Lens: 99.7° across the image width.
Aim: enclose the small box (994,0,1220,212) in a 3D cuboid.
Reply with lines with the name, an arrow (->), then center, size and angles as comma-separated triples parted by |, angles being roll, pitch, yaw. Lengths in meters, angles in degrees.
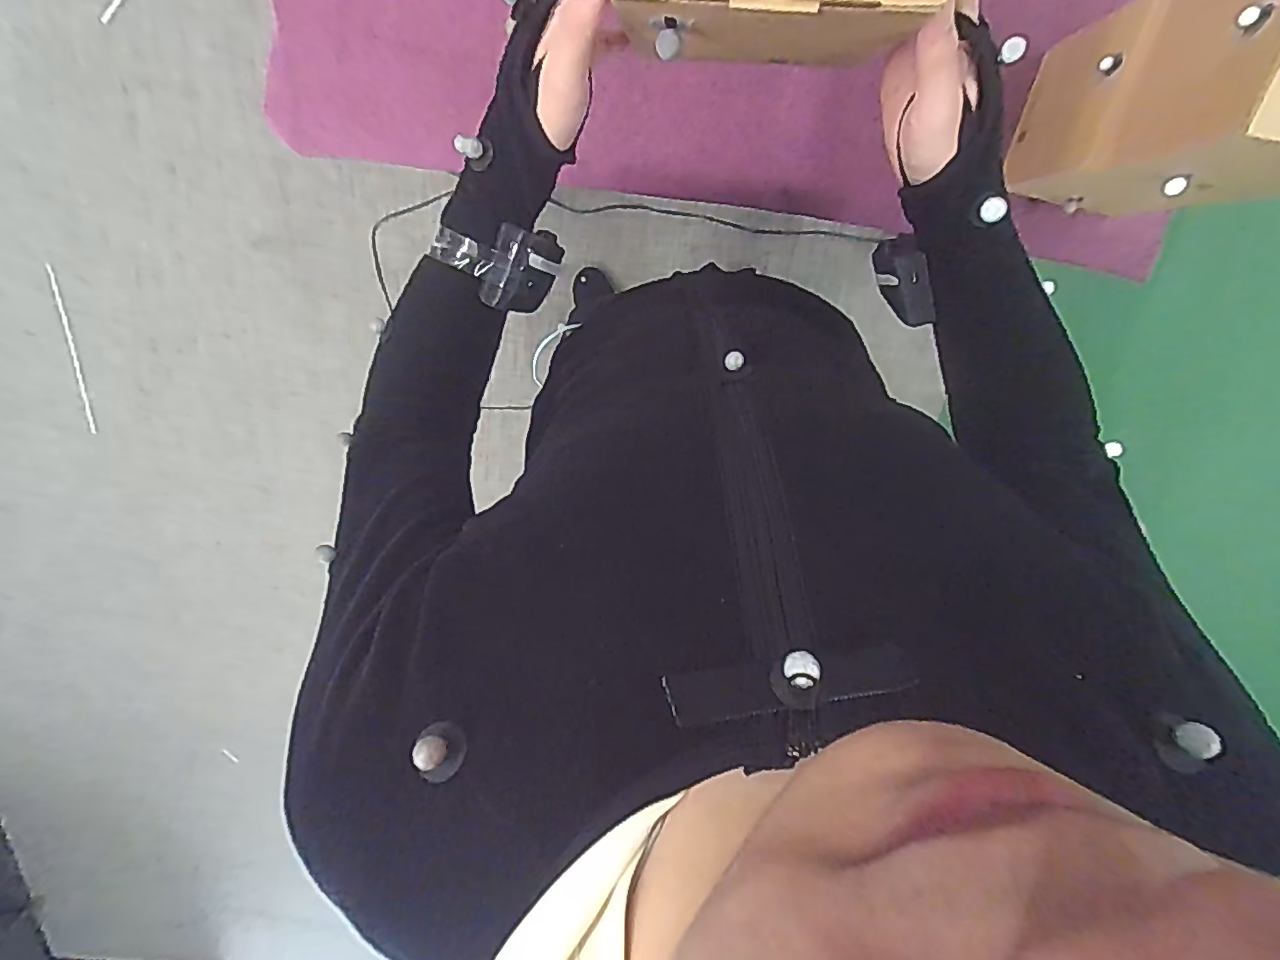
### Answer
small box -> 0.581, -0.430, 0.645 | 0.179, 0.176, 0.168 | 10, 110, -4
